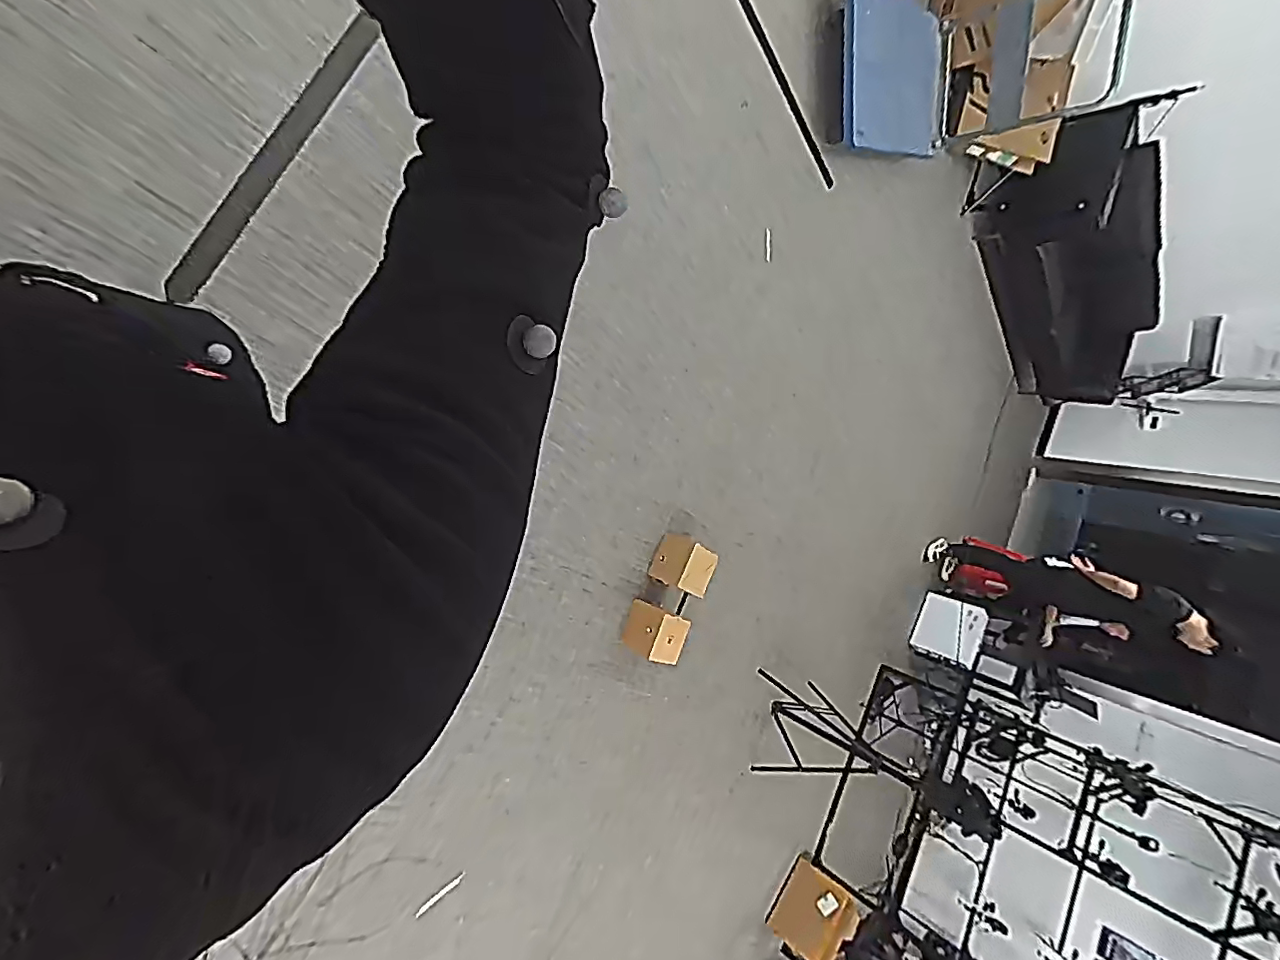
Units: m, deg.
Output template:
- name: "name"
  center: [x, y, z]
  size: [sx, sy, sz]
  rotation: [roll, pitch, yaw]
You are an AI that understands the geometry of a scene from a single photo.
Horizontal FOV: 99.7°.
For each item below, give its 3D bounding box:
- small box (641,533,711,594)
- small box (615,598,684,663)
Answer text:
- name: "small box"
  center: [0.142, 0.326, 2.088]
  size: [0.168, 0.176, 0.179]
  rotation: [35, 76, -42]
- name: "small box"
  center: [0.030, 0.568, 2.045]
  size: [0.168, 0.176, 0.179]
  rotation: [28, 80, -44]
